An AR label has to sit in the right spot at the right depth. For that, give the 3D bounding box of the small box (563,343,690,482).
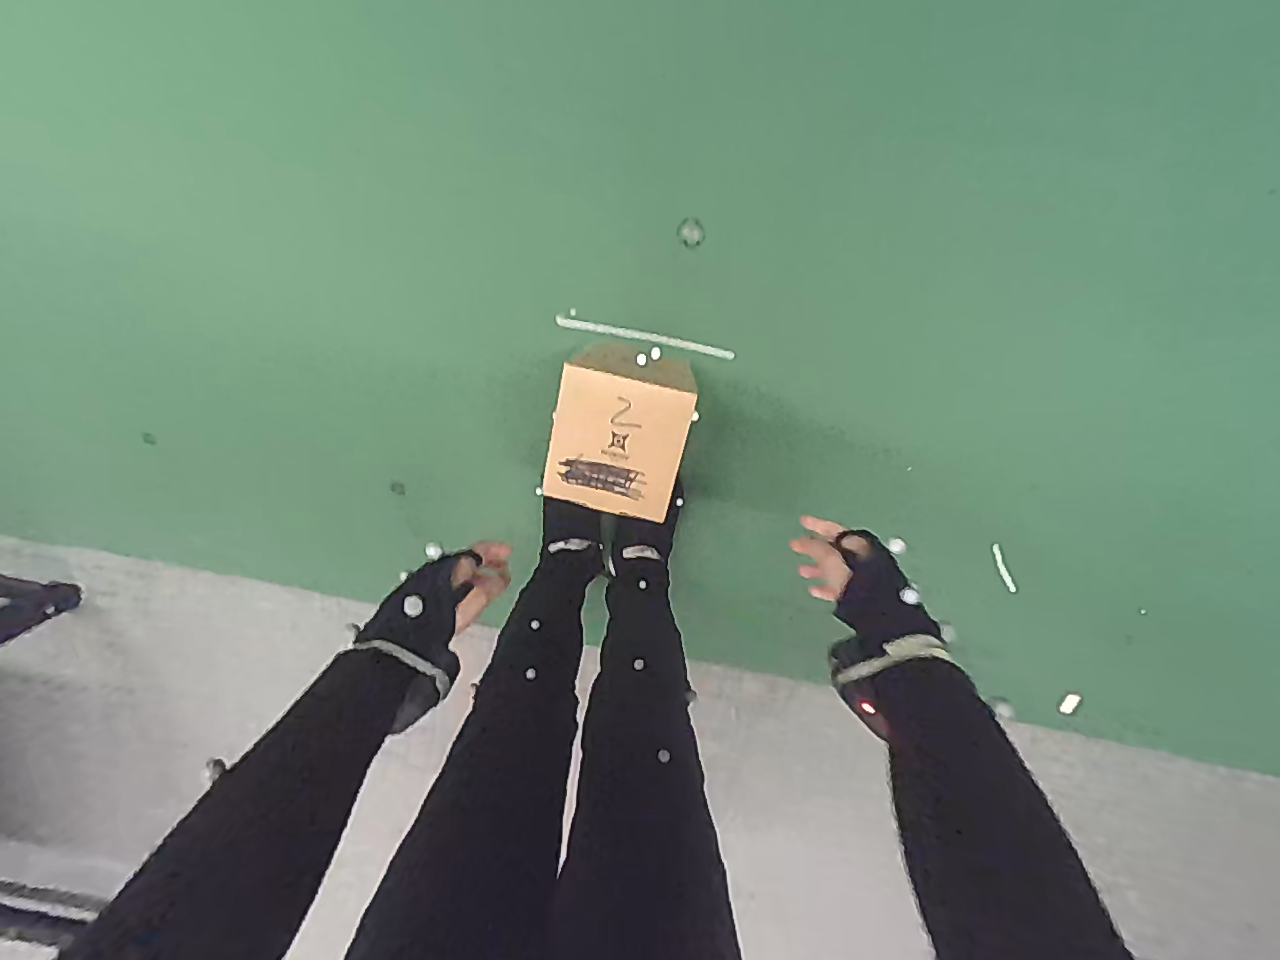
[{"bbox_3d":[-0.021,-0.121,0.901,0.168,0.176,0.179,14,110,-2],"label":"small box"}]
